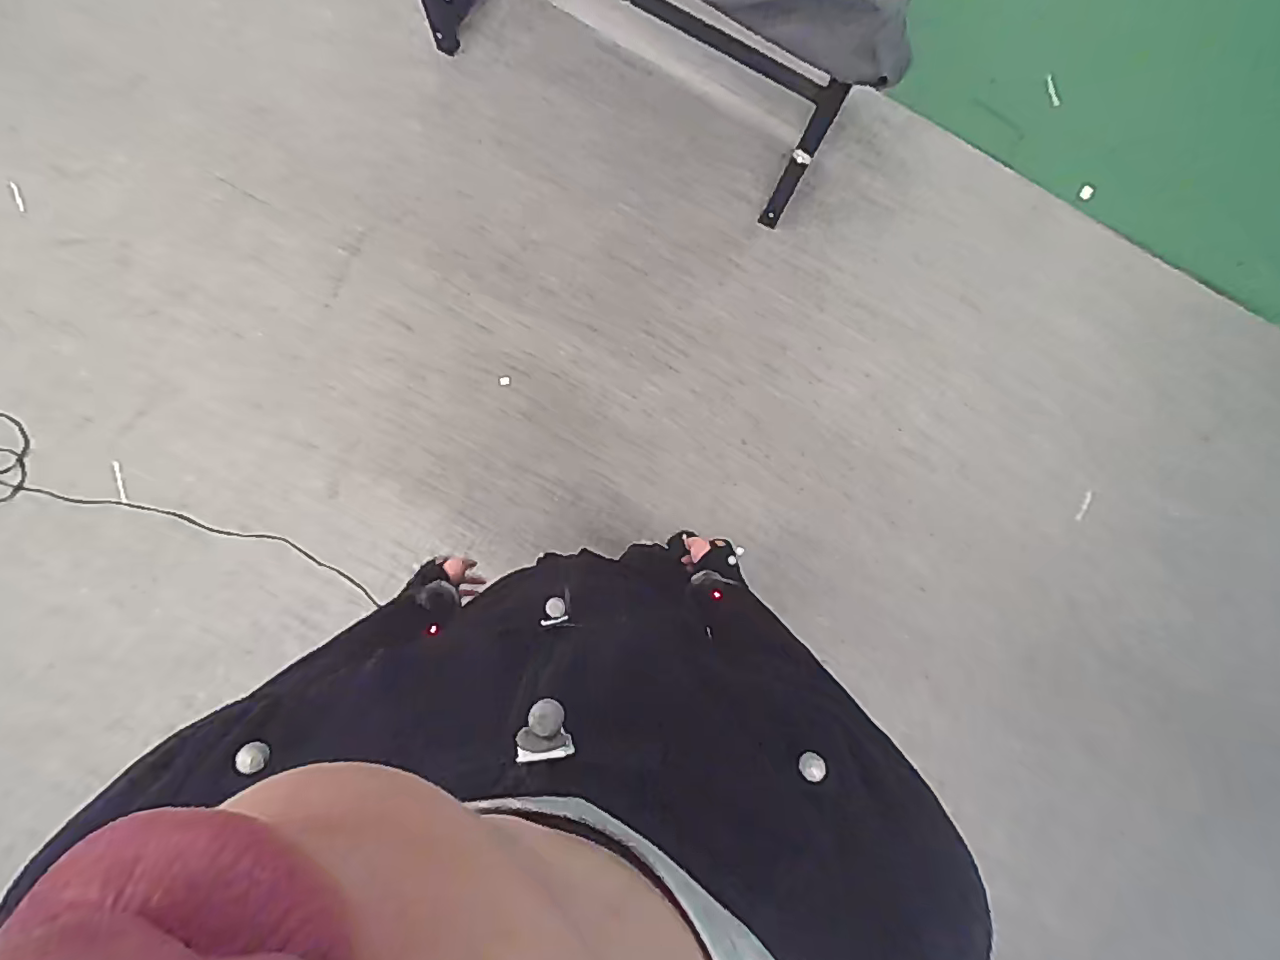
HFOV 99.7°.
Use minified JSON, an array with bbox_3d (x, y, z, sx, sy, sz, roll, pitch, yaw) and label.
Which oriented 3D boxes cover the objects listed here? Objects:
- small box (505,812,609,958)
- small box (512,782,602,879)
[{"bbox_3d":[-0.182,0.910,1.233,0.168,0.176,0.179,28,82,-2],"label":"small box"},{"bbox_3d":[-0.206,0.927,1.395,0.168,0.176,0.179,27,81,-3],"label":"small box"}]
